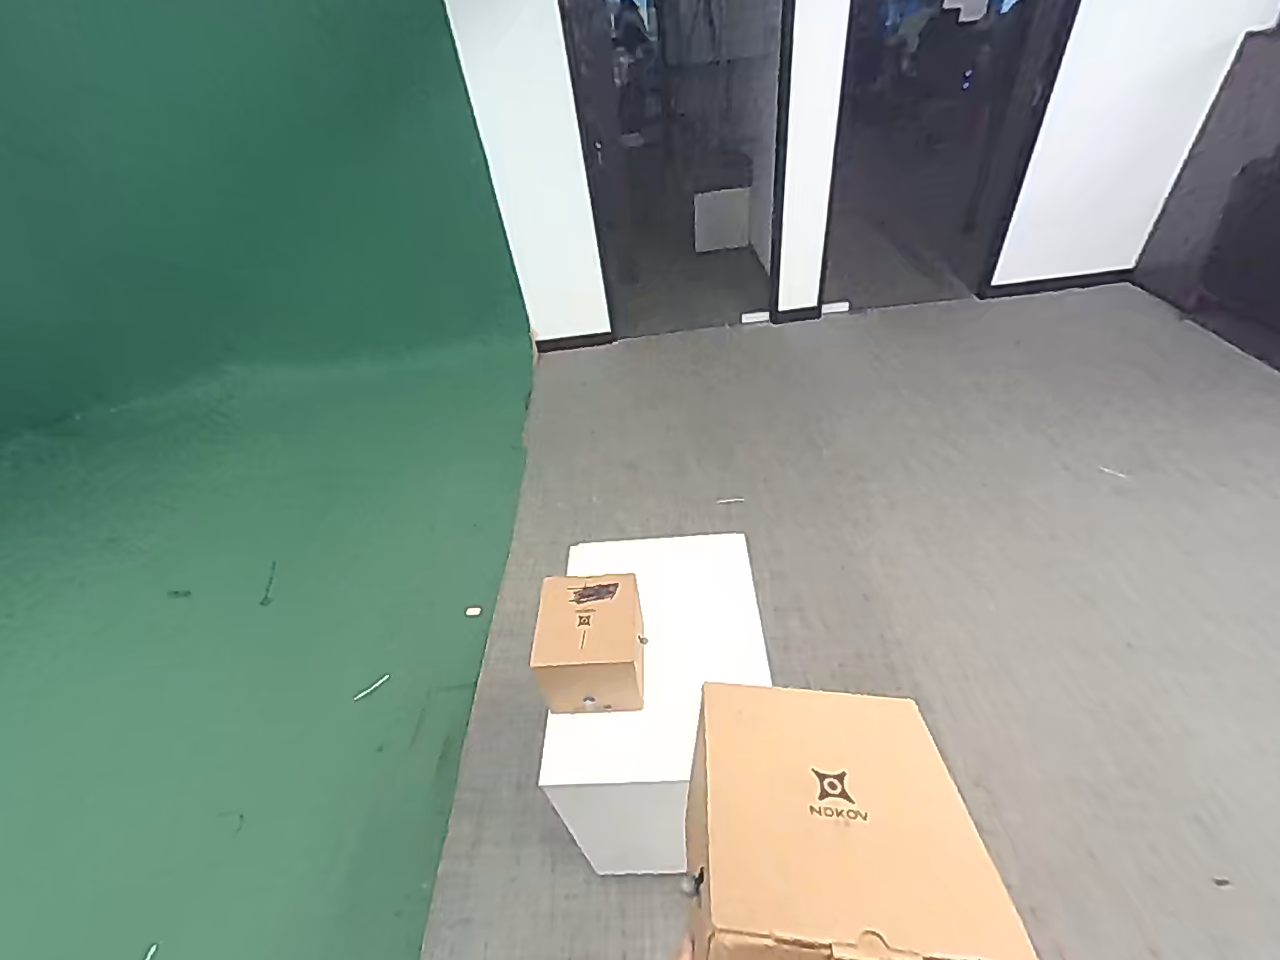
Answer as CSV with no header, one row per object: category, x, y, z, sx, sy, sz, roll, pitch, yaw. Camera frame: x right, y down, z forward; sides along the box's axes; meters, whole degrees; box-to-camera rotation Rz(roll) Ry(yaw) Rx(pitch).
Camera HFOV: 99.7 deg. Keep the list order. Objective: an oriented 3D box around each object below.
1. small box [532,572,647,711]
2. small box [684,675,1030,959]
small box,-0.079,0.283,0.950,0.168,0.176,0.179,-4,42,4
small box,0.119,0.273,0.384,0.168,0.176,0.179,5,25,4
